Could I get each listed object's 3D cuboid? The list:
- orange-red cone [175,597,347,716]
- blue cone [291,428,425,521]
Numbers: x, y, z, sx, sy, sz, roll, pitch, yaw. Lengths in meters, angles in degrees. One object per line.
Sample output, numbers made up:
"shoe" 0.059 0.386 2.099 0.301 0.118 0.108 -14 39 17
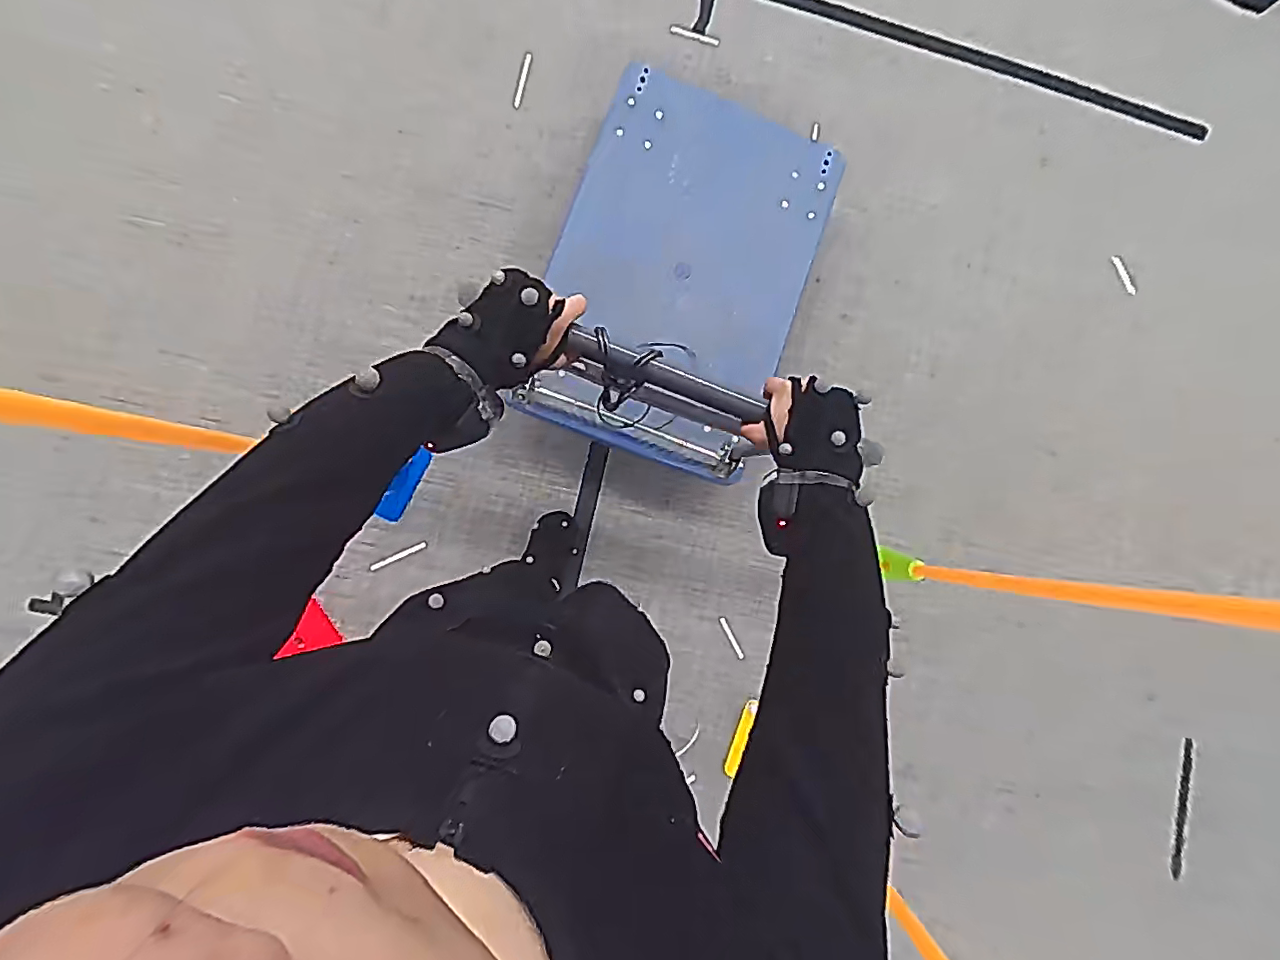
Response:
"orange-red cone" -0.782 0.384 1.077 0.199 0.360 0.198 -32 92 -9
"blue cone" -0.614 -0.022 1.135 0.193 0.380 0.192 28 85 -5
